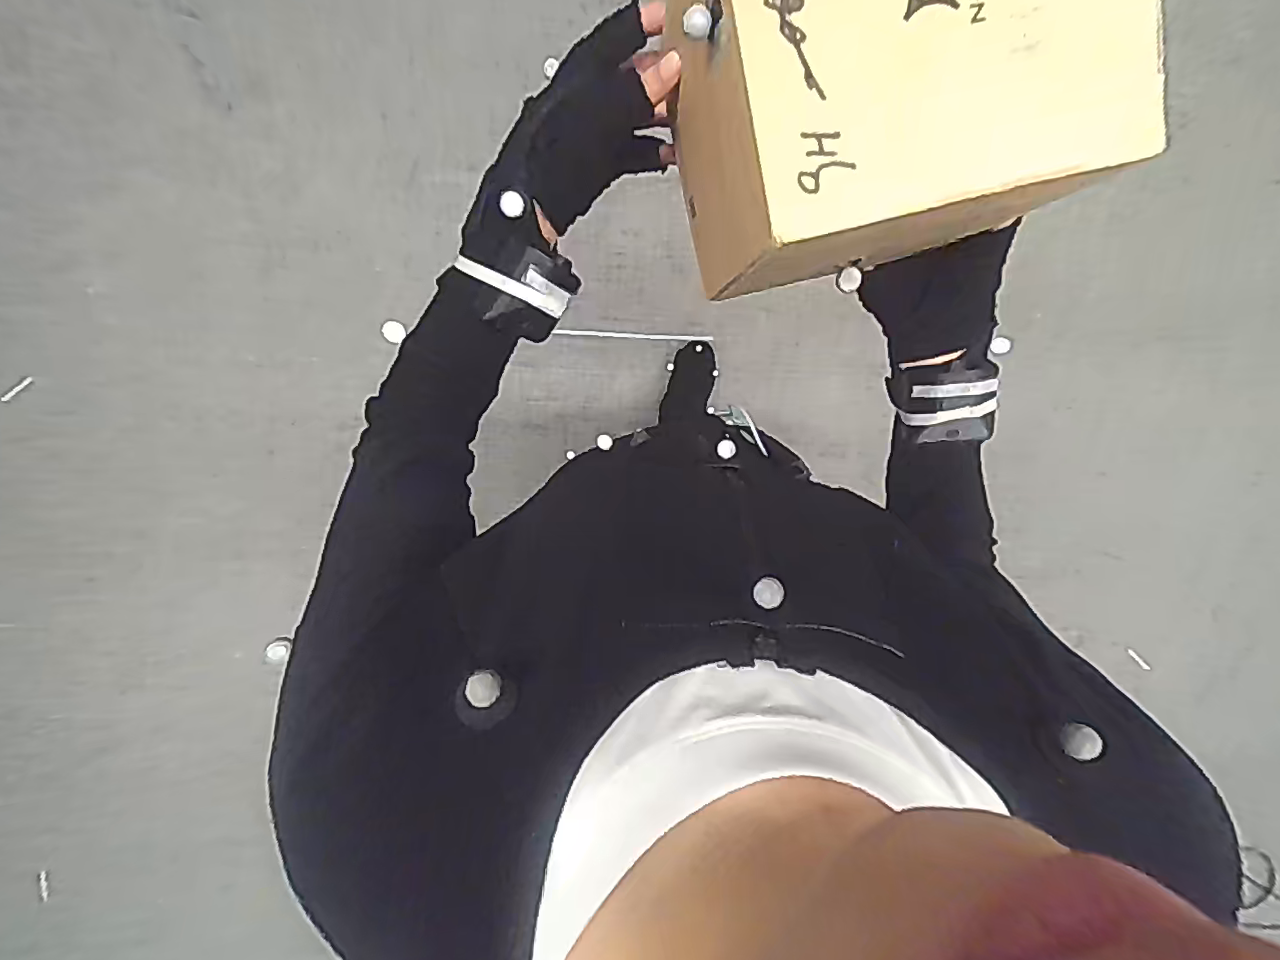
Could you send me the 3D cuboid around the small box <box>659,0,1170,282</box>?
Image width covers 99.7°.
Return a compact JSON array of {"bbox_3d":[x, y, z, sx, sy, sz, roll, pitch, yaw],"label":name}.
[{"bbox_3d":[0.117,-0.218,0.289,0.179,0.176,0.168,-13,101,-2],"label":"small box"}]
